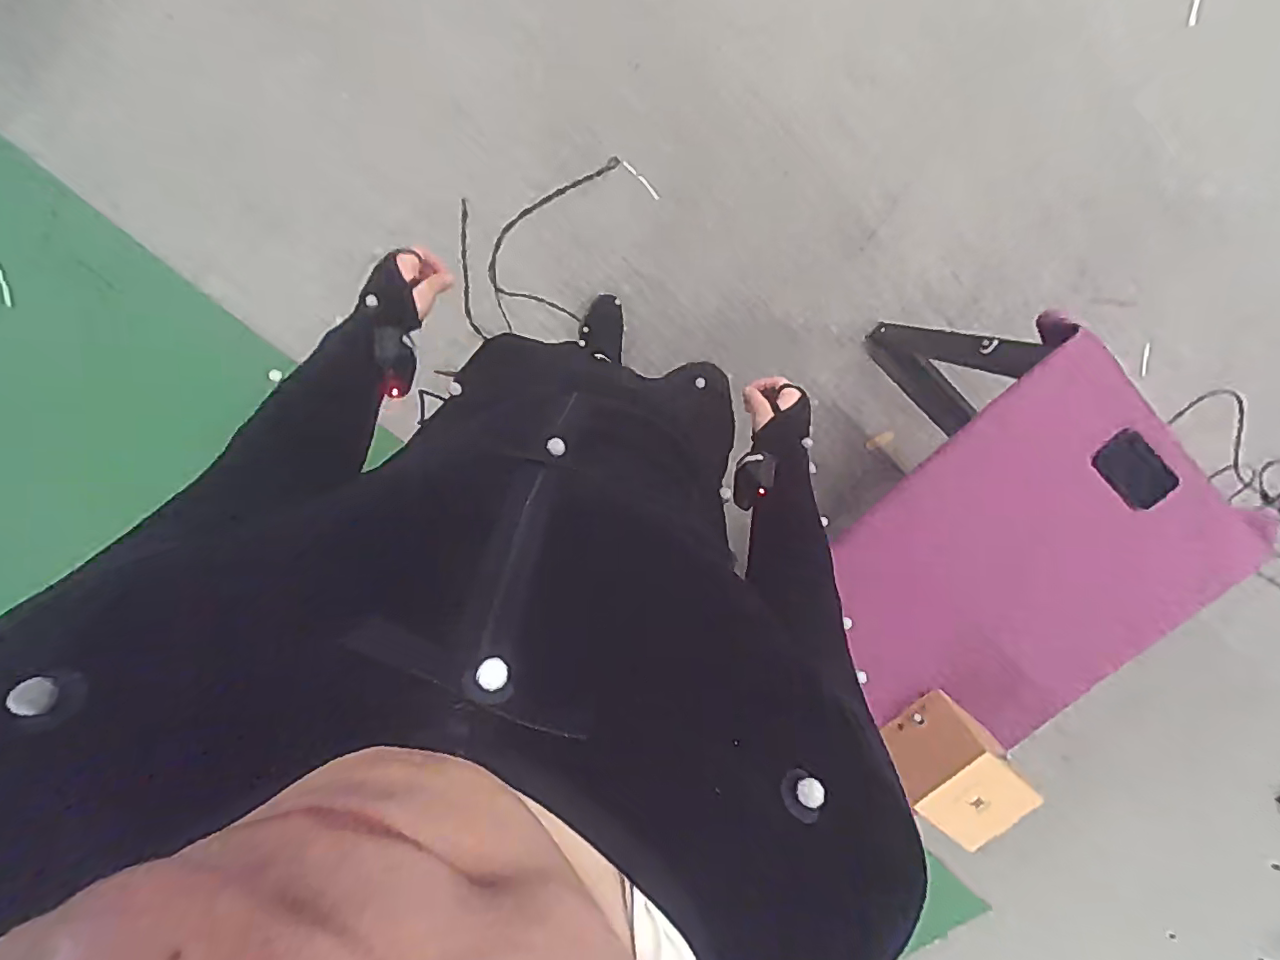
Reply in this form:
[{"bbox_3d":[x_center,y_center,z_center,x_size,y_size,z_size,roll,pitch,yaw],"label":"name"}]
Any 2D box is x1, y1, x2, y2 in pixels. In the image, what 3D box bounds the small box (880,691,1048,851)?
[{"bbox_3d":[0.596,0.537,1.016,0.179,0.176,0.168,41,103,-13],"label":"small box"}]
